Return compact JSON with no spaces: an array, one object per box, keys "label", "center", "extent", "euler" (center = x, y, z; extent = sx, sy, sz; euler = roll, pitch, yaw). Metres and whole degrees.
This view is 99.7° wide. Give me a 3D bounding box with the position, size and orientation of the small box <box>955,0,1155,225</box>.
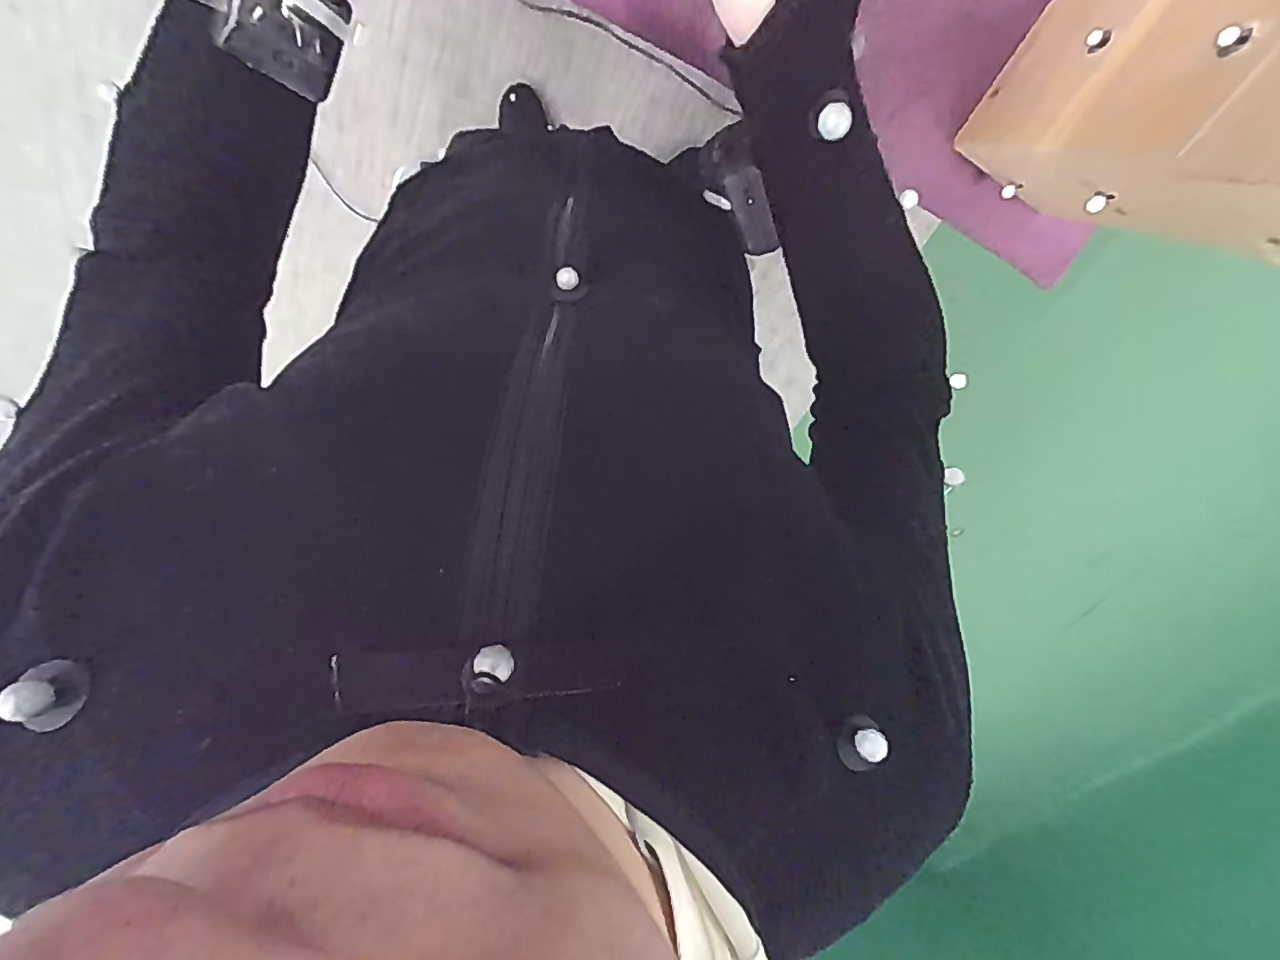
[{"label":"small box","center":[0.508,-0.420,0.603],"extent":[0.179,0.176,0.168],"euler":[22,120,-17]}]
